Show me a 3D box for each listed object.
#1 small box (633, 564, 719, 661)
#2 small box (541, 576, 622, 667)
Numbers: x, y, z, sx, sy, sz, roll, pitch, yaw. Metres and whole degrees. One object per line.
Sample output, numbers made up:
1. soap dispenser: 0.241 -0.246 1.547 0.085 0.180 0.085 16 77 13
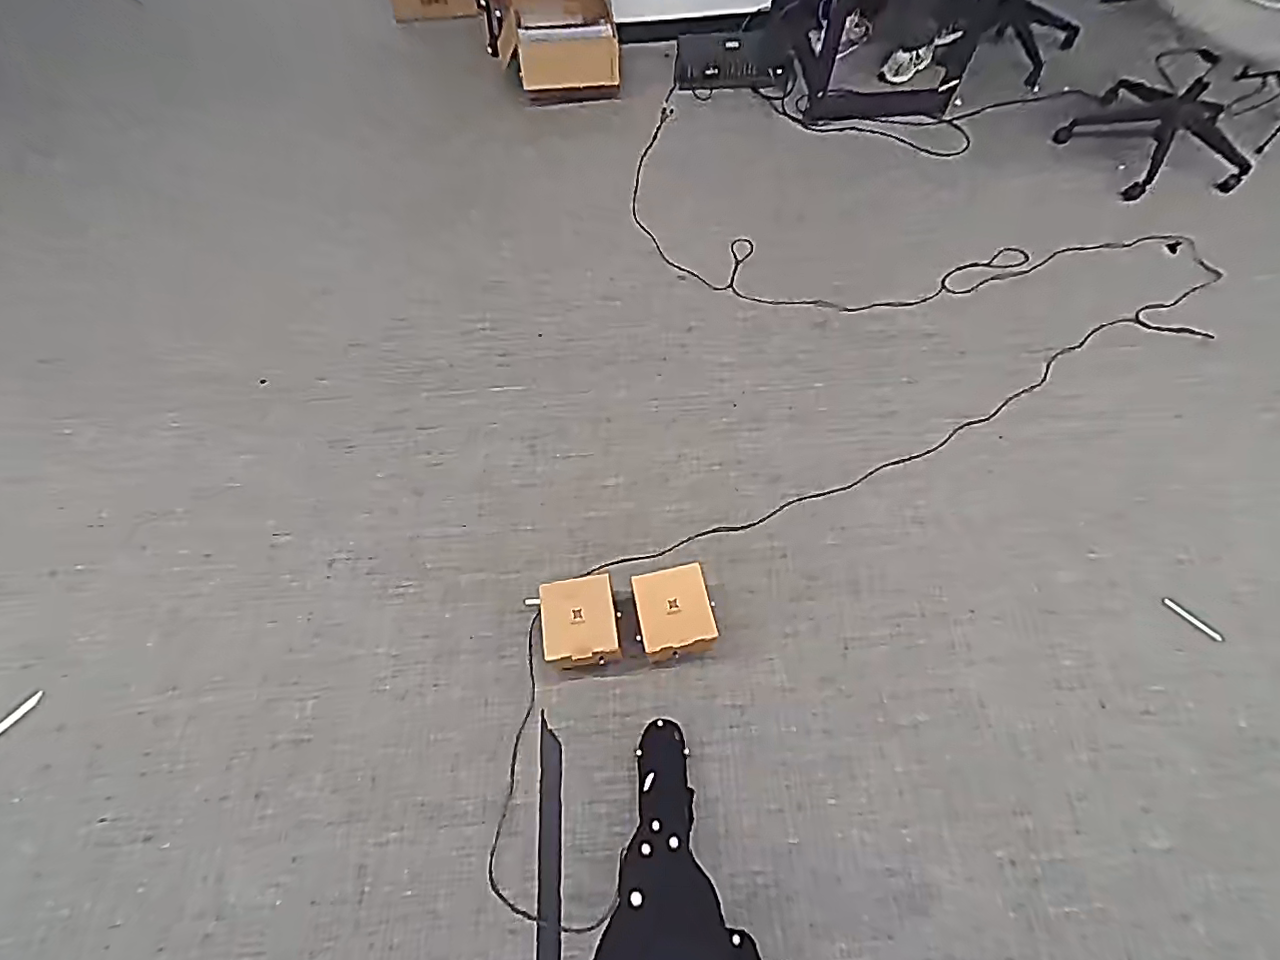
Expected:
1. small box: 0.079 0.322 1.300 0.168 0.176 0.179 -12 66 -4
2. small box: -0.136 0.345 1.295 0.168 0.176 0.179 -8 65 -3
